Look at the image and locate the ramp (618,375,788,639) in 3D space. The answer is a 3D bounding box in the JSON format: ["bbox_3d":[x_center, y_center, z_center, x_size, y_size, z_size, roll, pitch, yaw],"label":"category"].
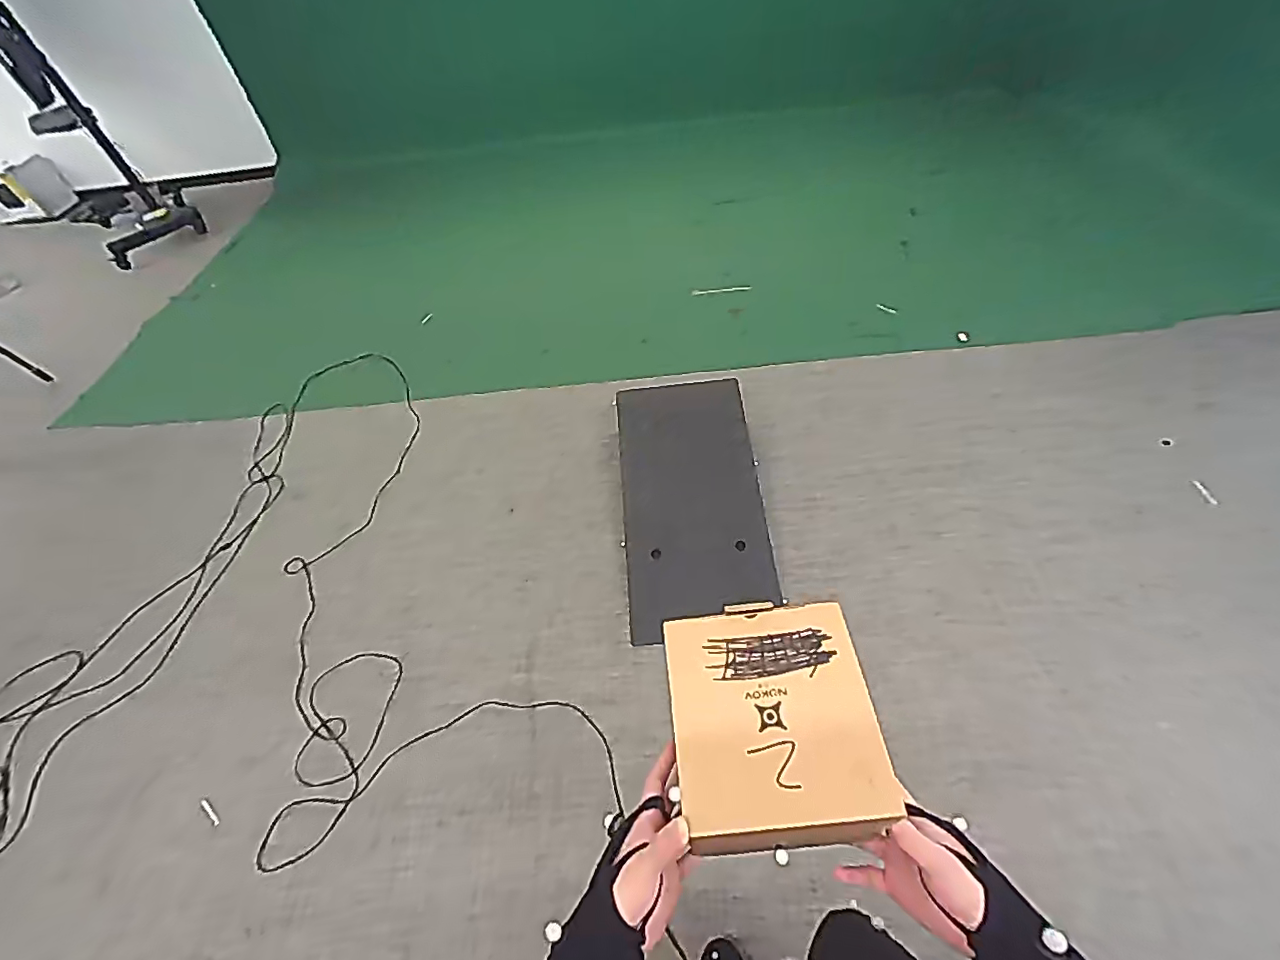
[{"bbox_3d":[0.189,0.041,1.916,0.509,0.206,0.991,-6,51,0],"label":"ramp"}]
